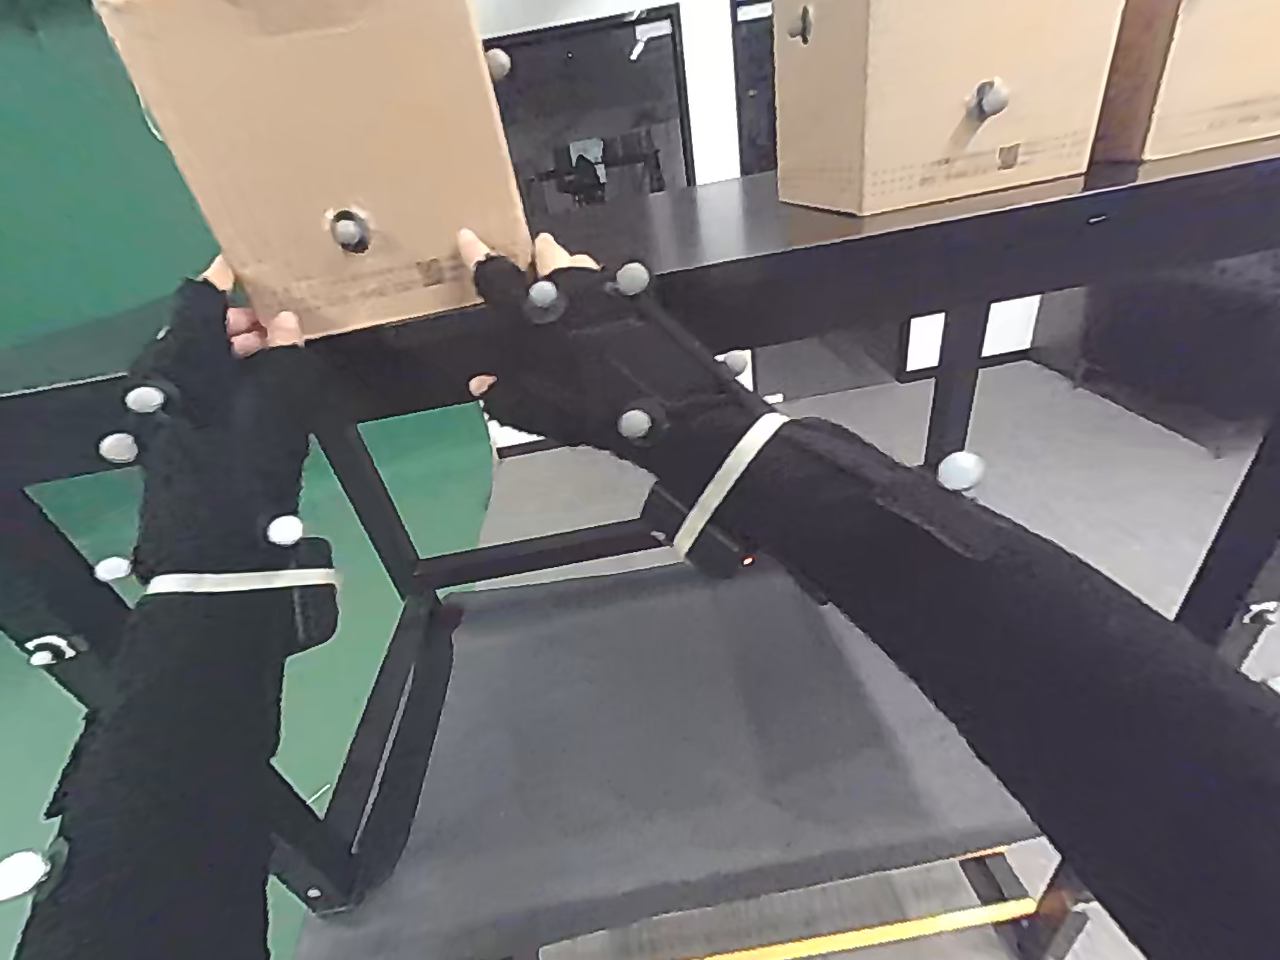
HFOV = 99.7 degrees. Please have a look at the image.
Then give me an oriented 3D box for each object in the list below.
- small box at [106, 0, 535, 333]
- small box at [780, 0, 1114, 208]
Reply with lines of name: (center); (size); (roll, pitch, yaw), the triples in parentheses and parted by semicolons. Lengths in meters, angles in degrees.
small box: (-0.174, -0.210, 0.366); (0.168, 0.176, 0.179); (-15, 31, -7)
small box: (0.210, -0.314, 0.413); (0.168, 0.176, 0.179); (-11, 31, 0)
